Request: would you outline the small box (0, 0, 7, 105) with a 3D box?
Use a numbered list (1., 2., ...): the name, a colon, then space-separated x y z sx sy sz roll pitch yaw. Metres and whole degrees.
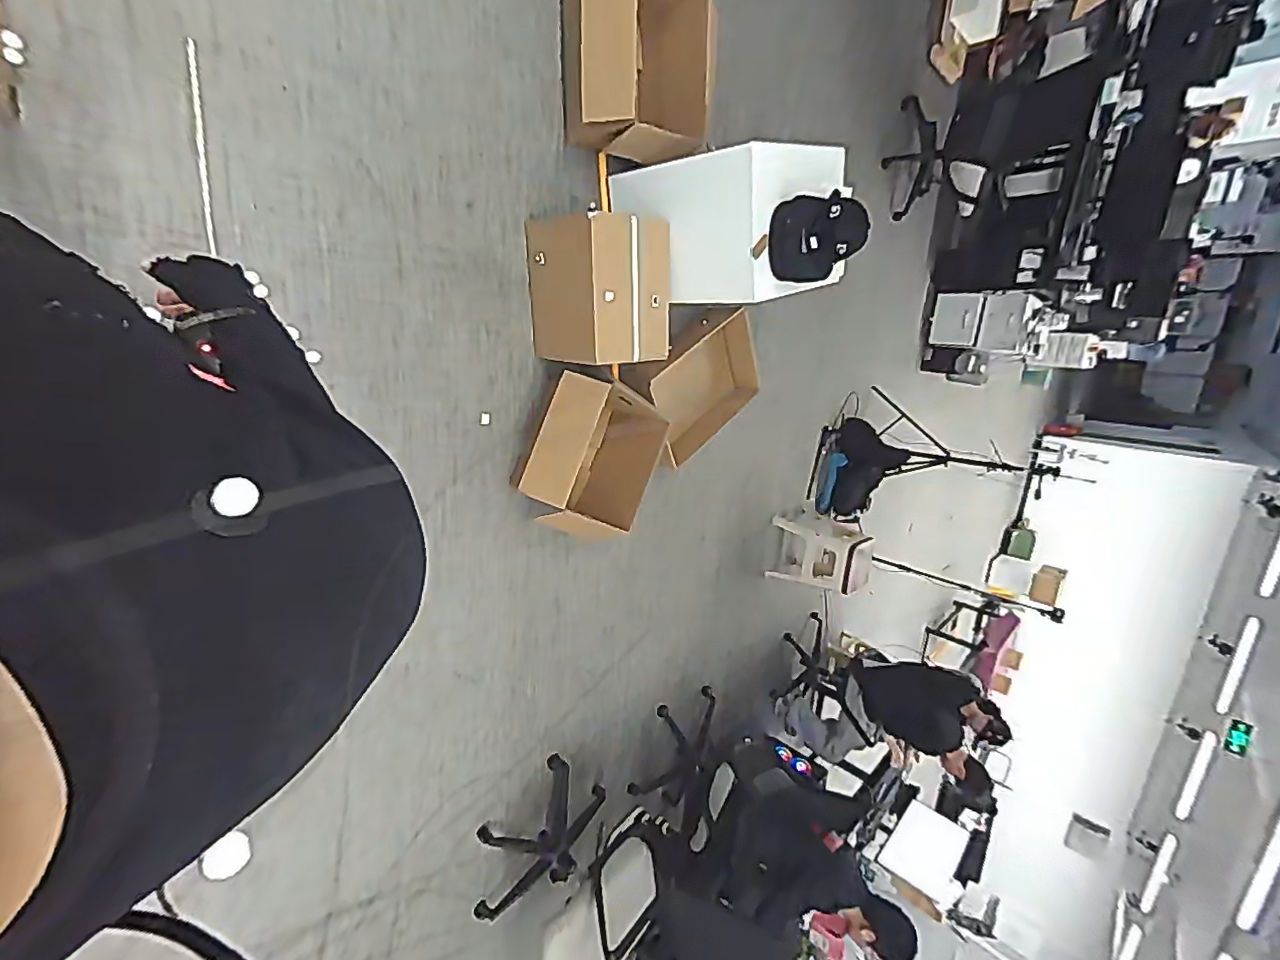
1. small box: -1.057 -0.678 0.779 0.179 0.176 0.168 -1 104 -47
